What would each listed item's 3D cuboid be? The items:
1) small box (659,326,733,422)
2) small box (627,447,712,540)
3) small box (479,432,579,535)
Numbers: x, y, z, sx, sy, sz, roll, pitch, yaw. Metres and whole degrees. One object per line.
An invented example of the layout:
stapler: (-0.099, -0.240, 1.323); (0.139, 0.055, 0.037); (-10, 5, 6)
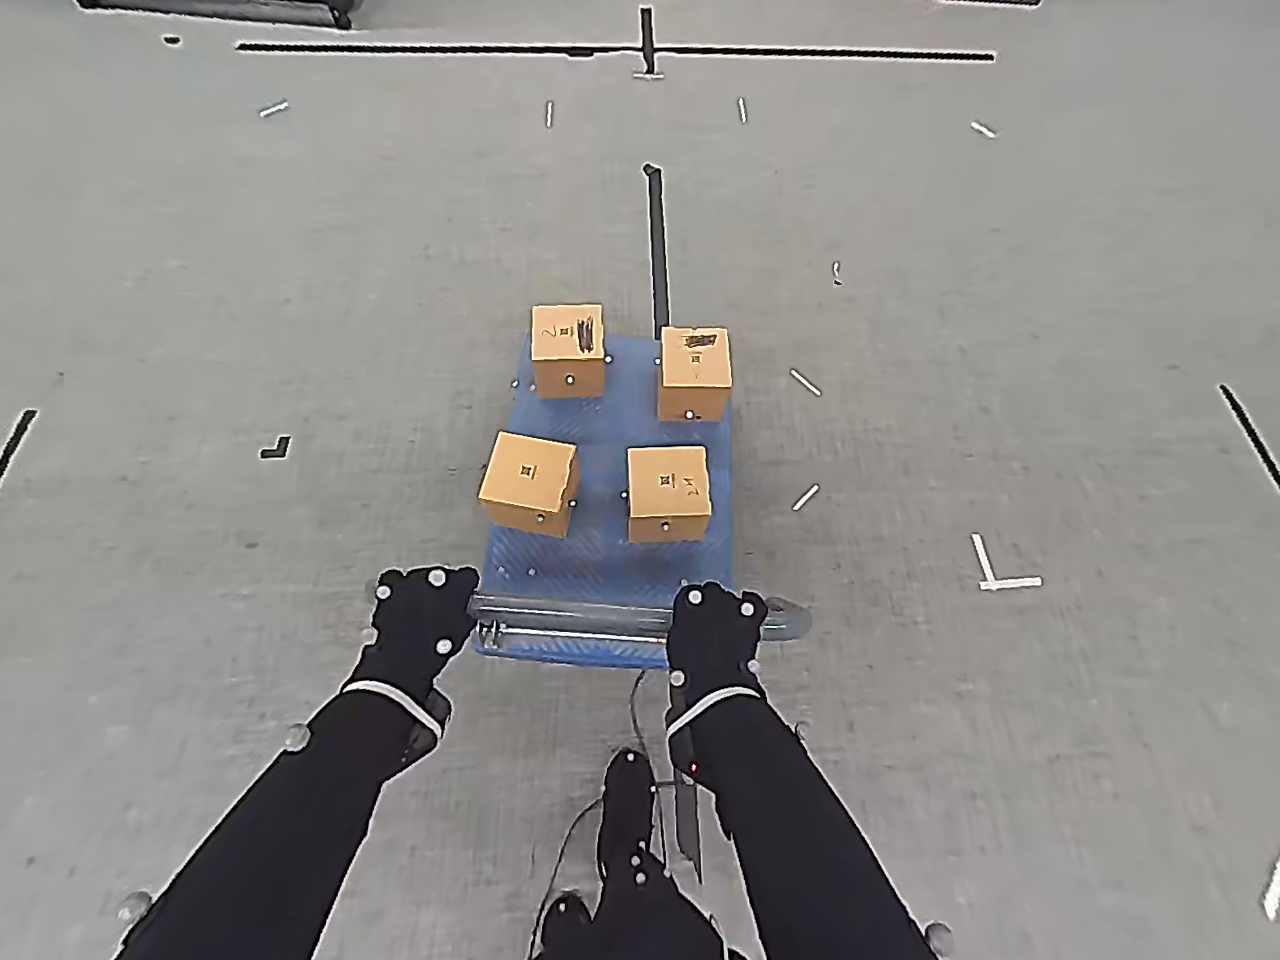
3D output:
small box: (0.135, -0.265, 1.370); (0.168, 0.176, 0.179); (1, 67, -2)
small box: (0.061, 0.036, 1.235); (0.179, 0.176, 0.168); (-1, 66, -3)
small box: (-0.244, 0.014, 1.234); (0.179, 0.176, 0.168); (11, 66, 1)
